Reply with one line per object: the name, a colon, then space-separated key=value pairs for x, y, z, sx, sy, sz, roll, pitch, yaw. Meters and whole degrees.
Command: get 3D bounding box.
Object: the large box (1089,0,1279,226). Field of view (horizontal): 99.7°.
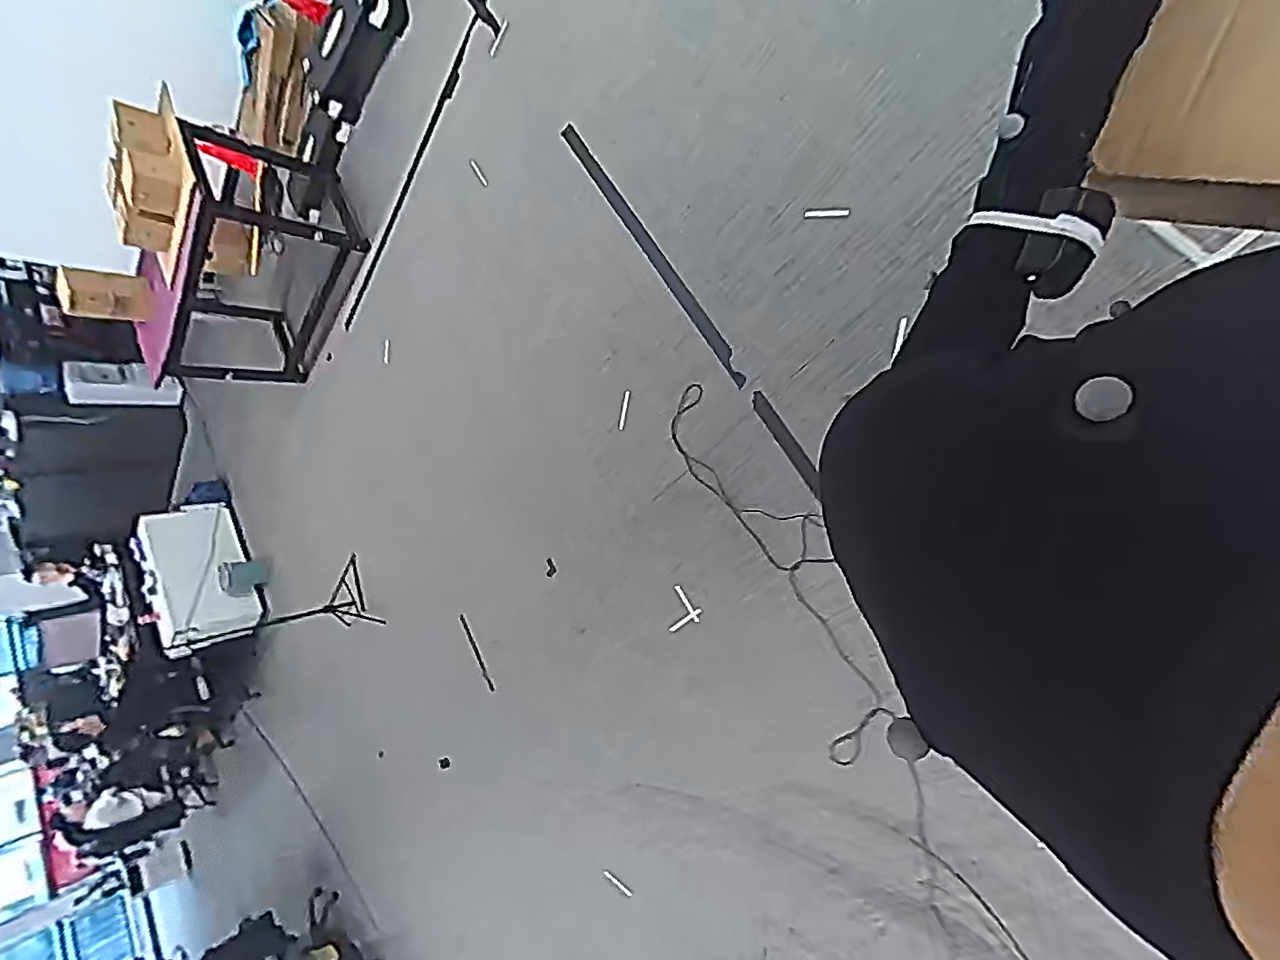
large box: x=0.605 y=-0.342 z=0.354 sx=0.408 sy=0.320 sz=0.320 roll=26 pitch=121 yaw=33
